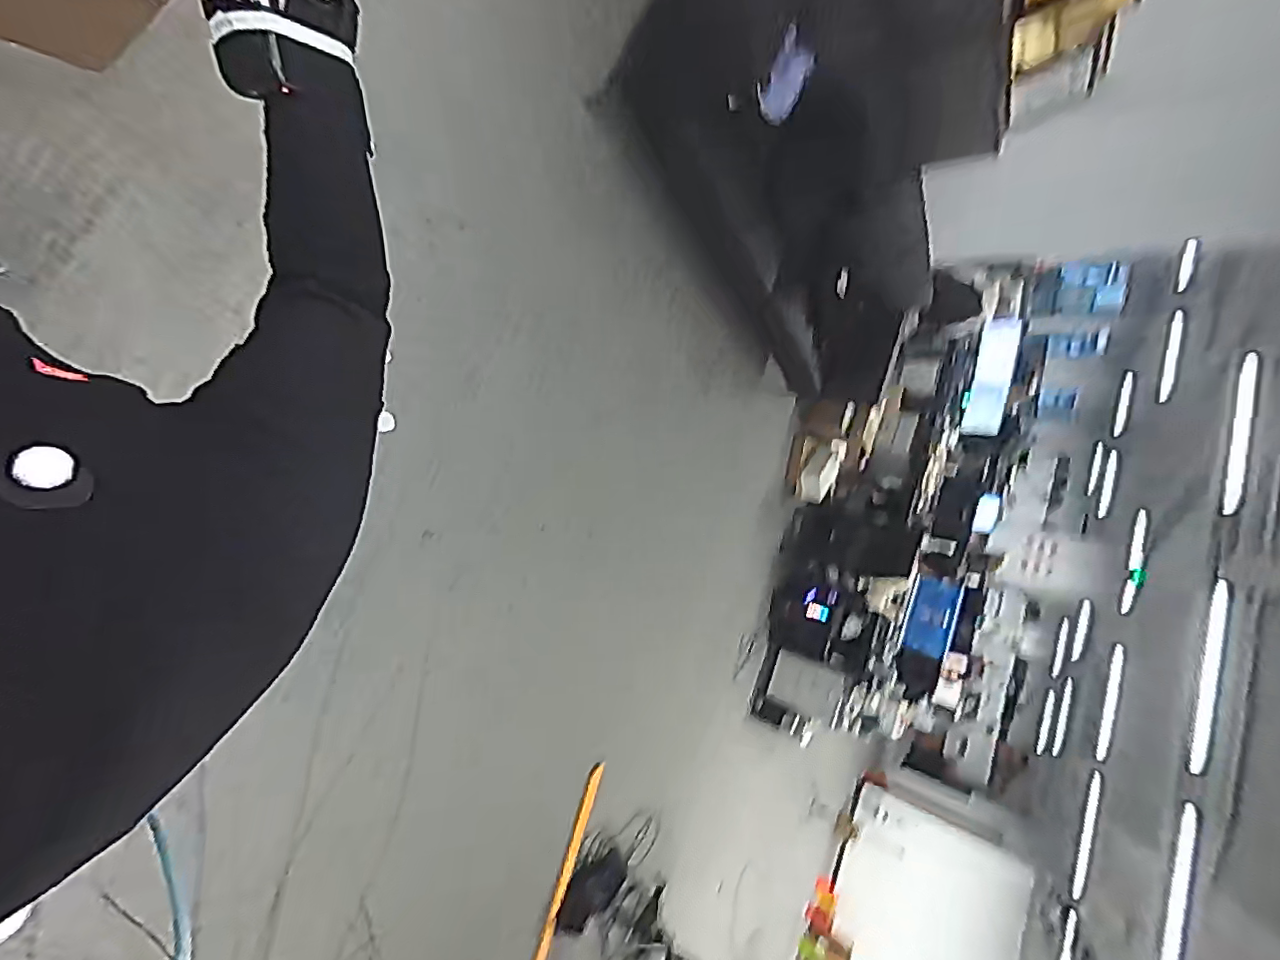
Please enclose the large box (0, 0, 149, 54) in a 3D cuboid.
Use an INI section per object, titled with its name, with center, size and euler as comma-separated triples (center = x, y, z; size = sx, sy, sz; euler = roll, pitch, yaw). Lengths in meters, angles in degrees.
[large box]
center = -0.486, -0.477, 0.224
size = 0.408, 0.320, 0.320
euler = -9, 112, -51
